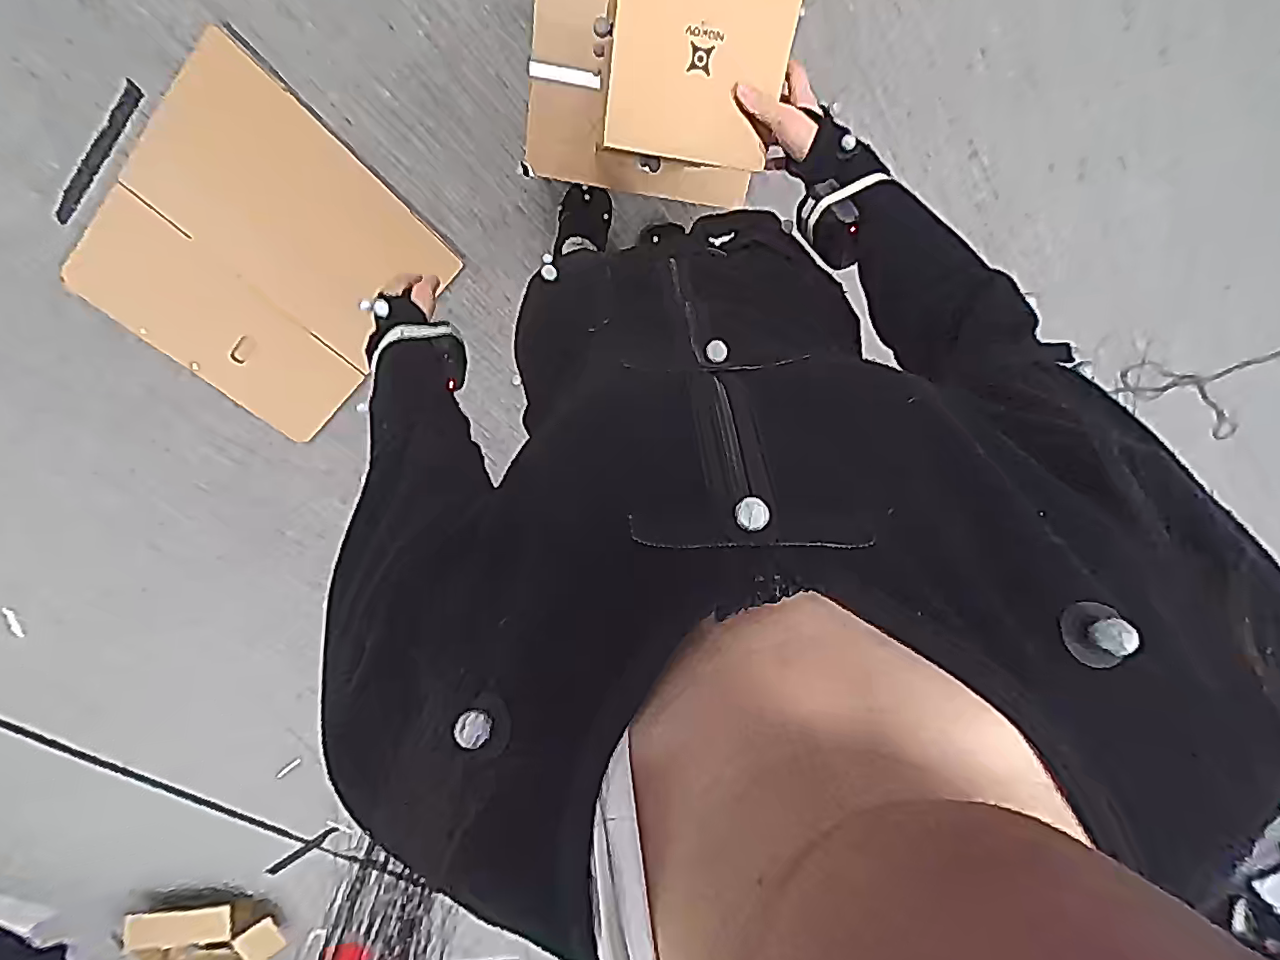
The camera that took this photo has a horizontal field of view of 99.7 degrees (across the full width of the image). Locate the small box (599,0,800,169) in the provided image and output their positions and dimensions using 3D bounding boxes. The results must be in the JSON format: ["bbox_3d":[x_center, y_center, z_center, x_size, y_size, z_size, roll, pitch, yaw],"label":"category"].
[{"bbox_3d":[0.049,-0.434,0.558,0.168,0.176,0.179,5,119,-8],"label":"small box"}]
